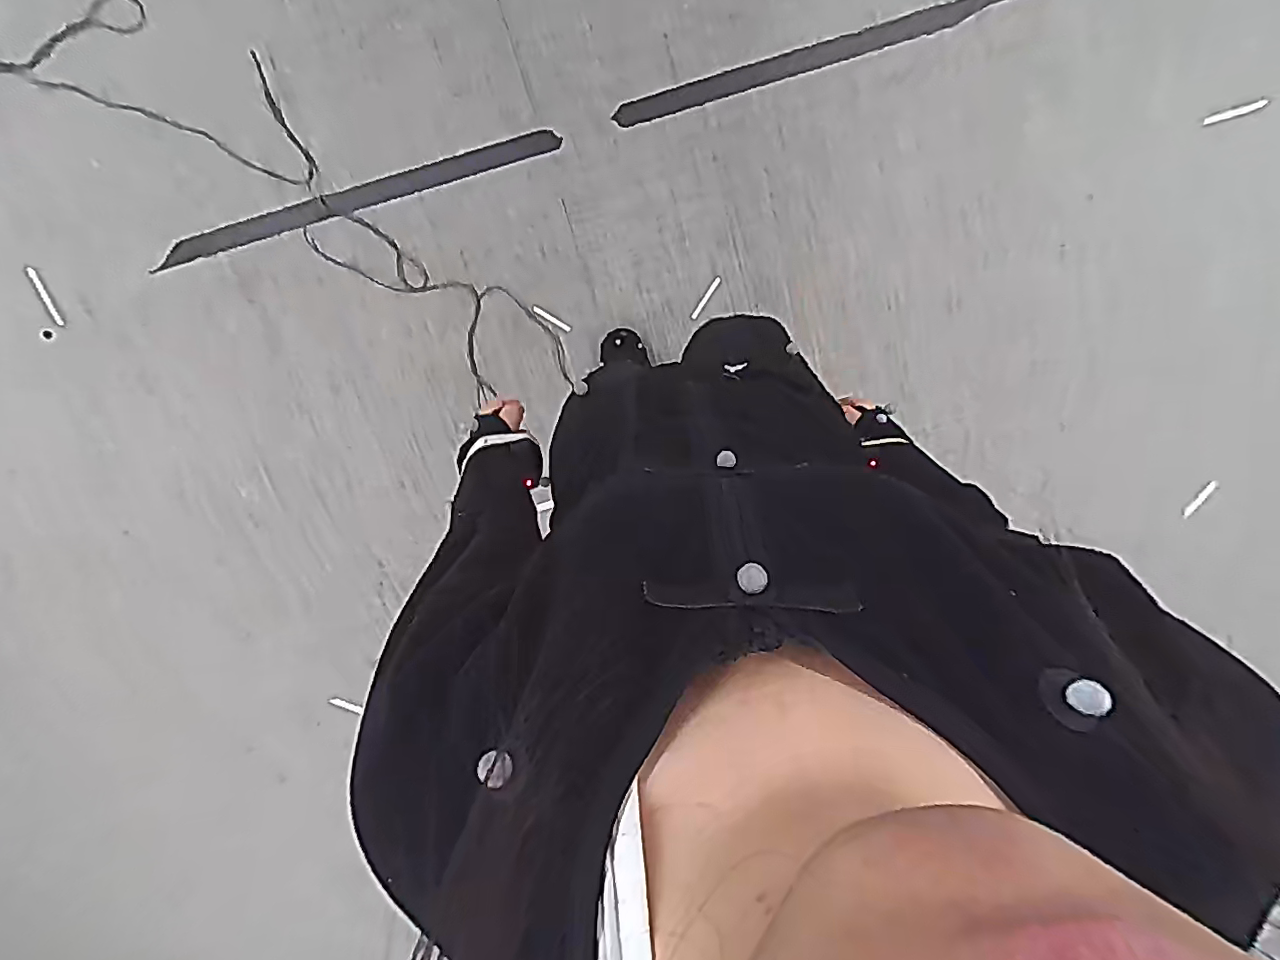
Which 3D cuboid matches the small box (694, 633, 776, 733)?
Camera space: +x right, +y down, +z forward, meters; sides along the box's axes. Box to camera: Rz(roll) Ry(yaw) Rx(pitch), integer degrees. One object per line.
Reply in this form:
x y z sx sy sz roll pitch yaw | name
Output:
0.267 0.573 1.544 0.168 0.176 0.179 -23 106 2 | small box
